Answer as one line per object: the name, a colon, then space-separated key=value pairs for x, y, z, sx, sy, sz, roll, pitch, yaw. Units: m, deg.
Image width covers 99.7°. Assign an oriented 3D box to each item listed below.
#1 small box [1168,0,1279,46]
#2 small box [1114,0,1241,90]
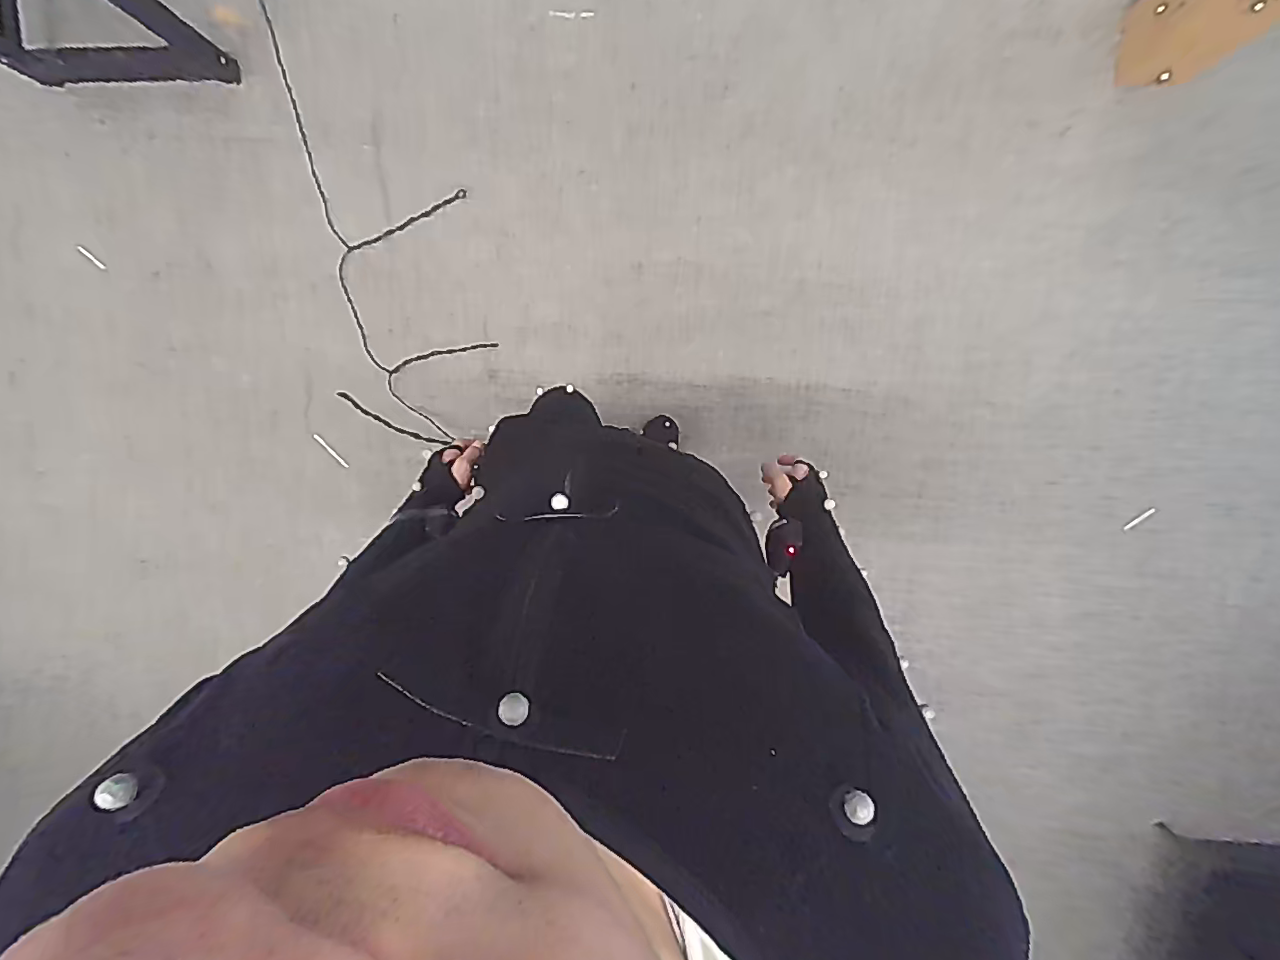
small box: x=1.315 y=-1.085 z=1.170 sx=0.179 sy=0.176 sz=0.168 roll=5 pitch=98 yaw=1
small box: x=1.326 y=-1.109 z=1.332 sx=0.168 sy=0.176 sz=0.179 roll=4 pitch=98 yaw=3
